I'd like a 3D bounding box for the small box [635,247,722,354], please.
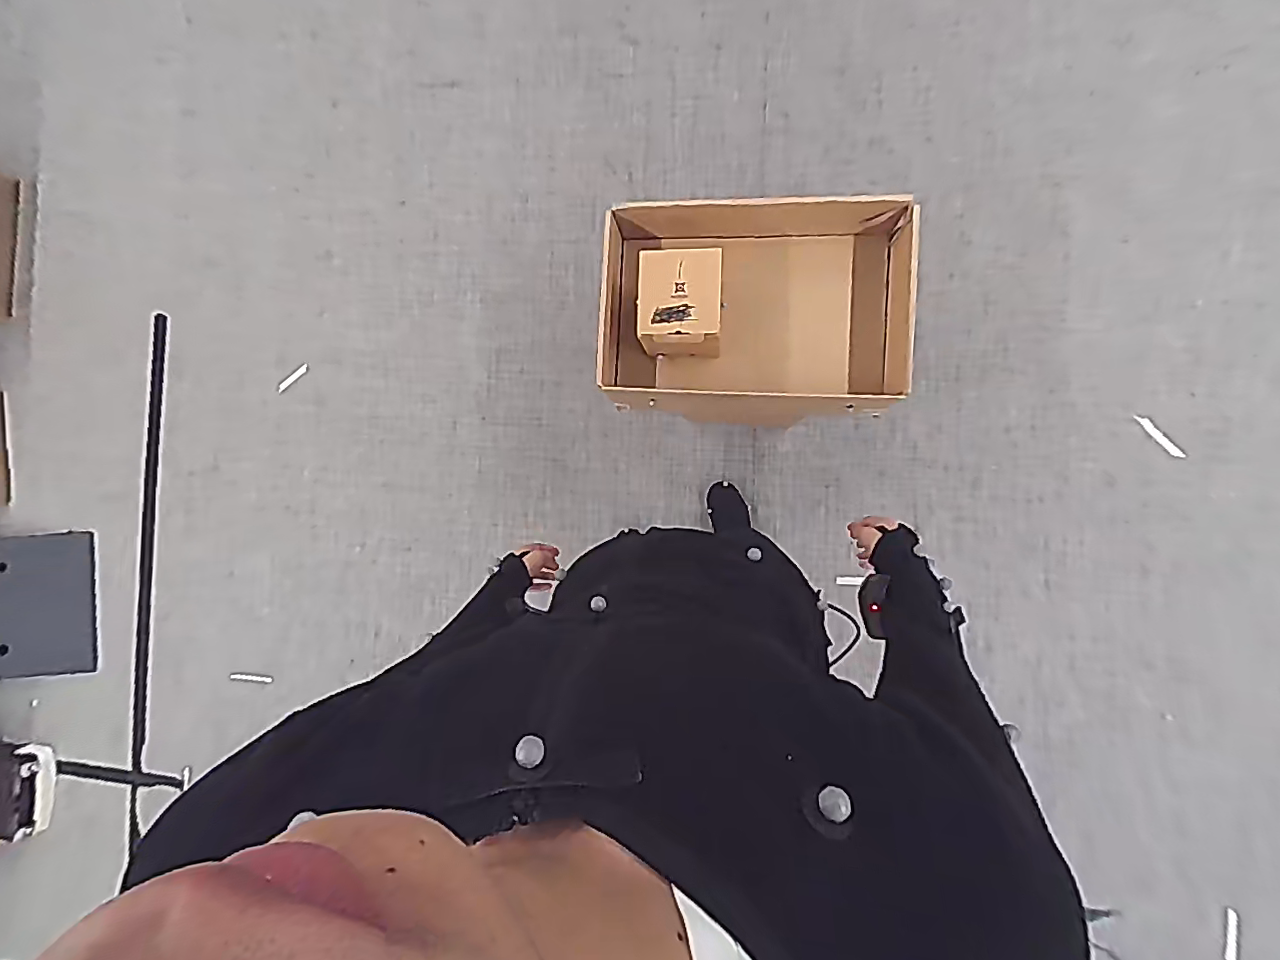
[{"bbox_3d":[0.087,-0.369,1.144,0.168,0.176,0.179,2,88,8],"label":"small box"}]
